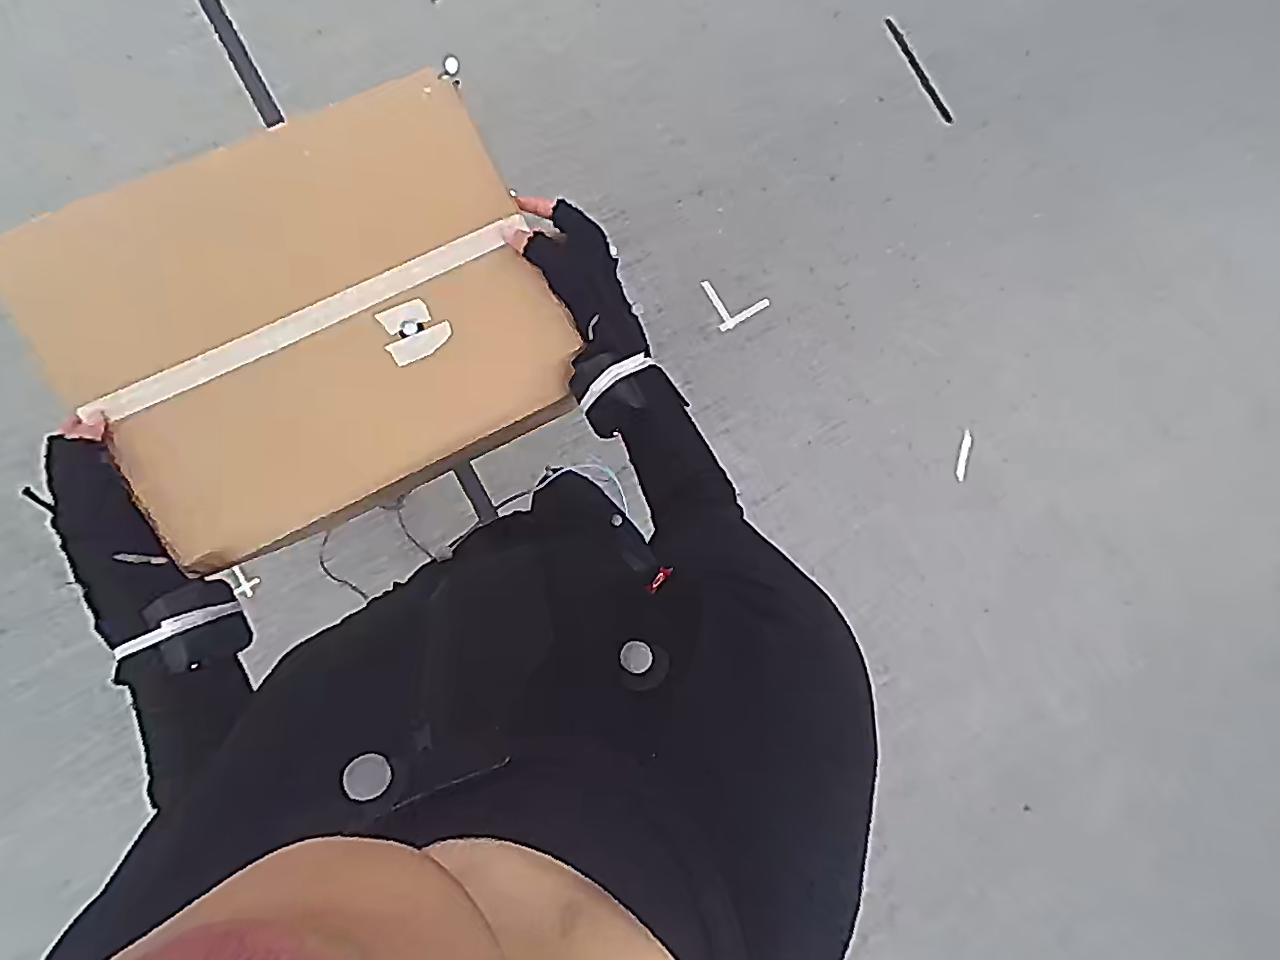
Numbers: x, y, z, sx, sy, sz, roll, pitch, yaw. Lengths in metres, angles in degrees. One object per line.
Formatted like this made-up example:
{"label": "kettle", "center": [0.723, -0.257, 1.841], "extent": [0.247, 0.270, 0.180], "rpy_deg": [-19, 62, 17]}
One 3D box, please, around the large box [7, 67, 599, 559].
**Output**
{"label": "large box", "center": [-0.308, -0.160, 0.632], "extent": [0.408, 0.320, 0.320], "rpy_deg": [-28, 99, -9]}
